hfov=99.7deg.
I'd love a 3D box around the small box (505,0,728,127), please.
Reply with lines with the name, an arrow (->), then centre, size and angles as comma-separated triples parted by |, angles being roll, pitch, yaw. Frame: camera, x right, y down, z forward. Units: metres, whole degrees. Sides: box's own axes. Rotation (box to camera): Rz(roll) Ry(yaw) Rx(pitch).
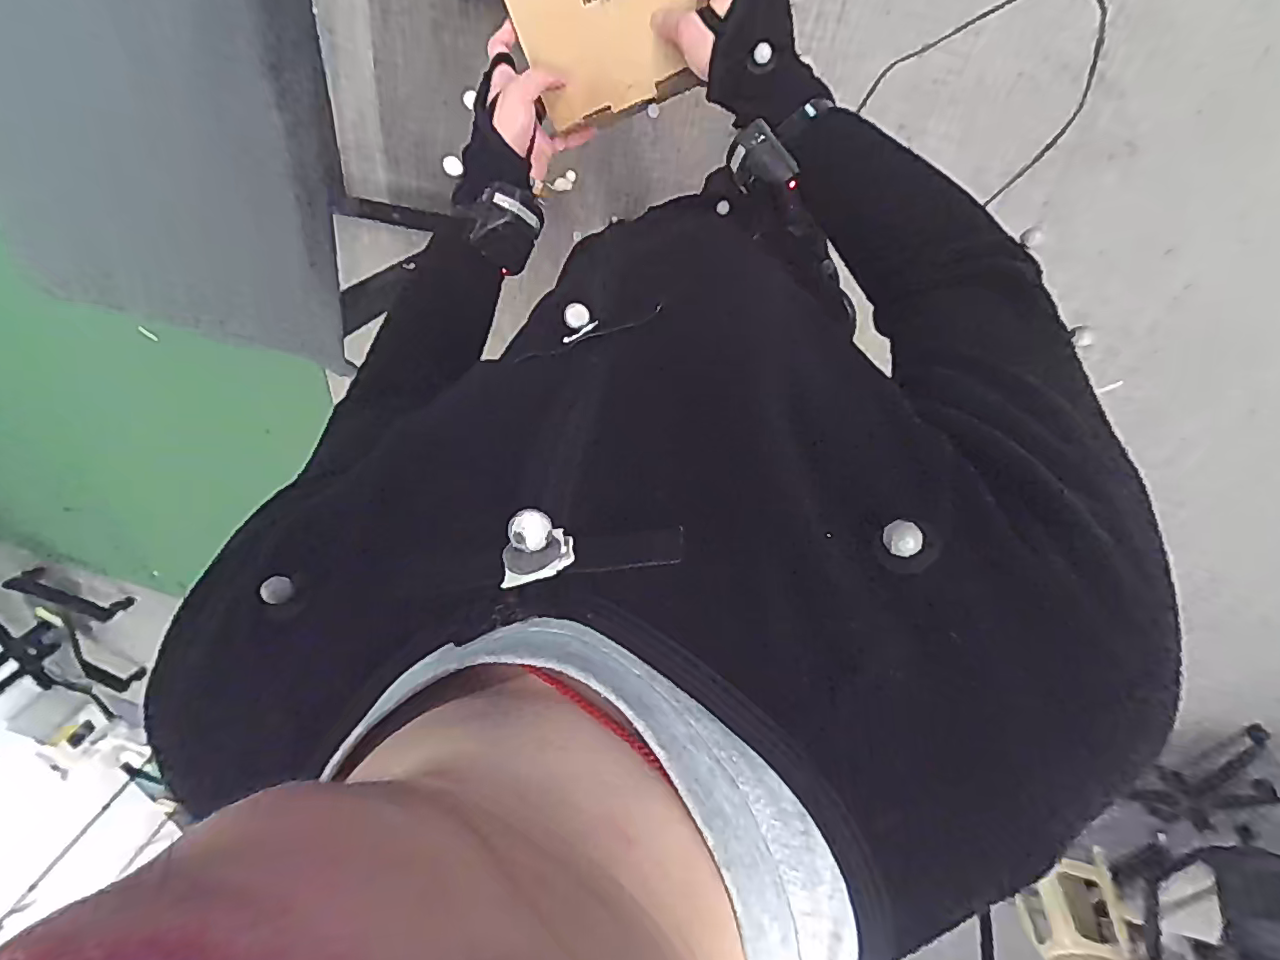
small box -> -0.021, -0.462, 0.507 | 0.168, 0.176, 0.179 | -11, 120, 21
